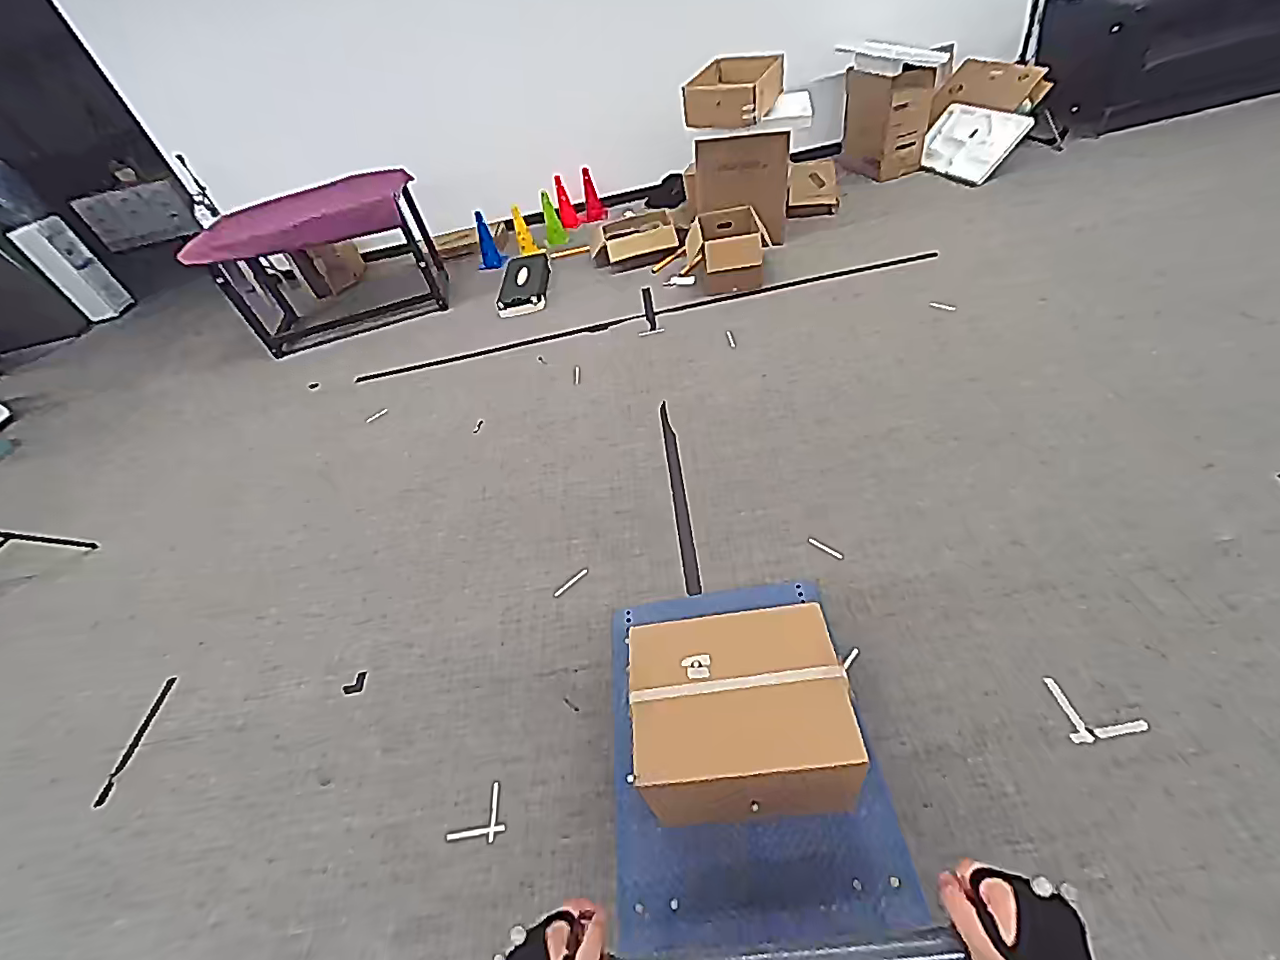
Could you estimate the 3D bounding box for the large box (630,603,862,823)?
[{"bbox_3d":[0.211,0.503,1.153,0.408,0.320,0.320,-10,44,6],"label":"large box"}]
